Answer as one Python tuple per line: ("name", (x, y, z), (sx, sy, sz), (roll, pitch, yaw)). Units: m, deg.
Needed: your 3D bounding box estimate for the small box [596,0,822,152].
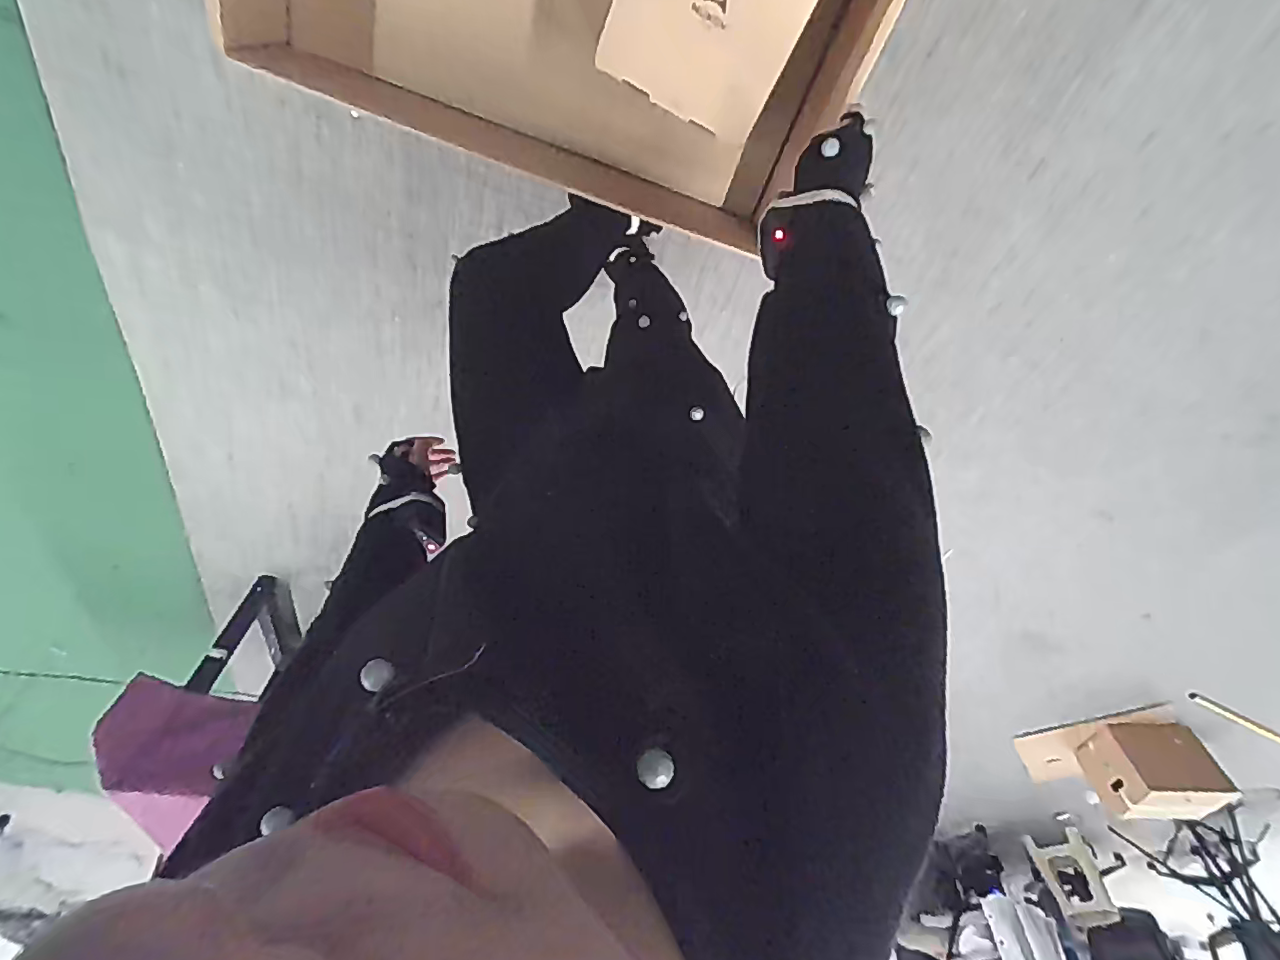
("small box", (0.069, -0.473, 0.542), (0.168, 0.176, 0.179), (20, 129, -17))
